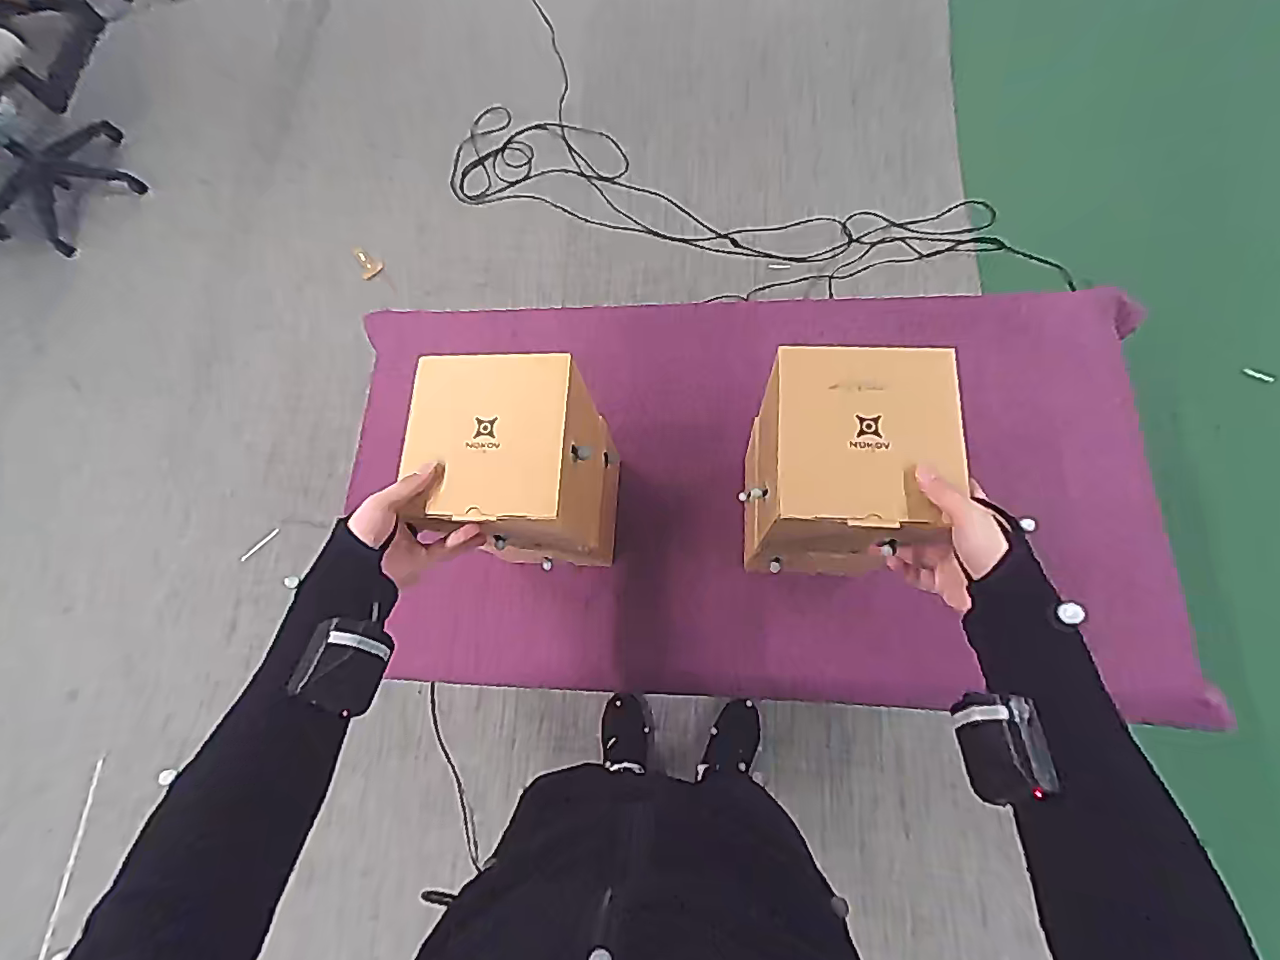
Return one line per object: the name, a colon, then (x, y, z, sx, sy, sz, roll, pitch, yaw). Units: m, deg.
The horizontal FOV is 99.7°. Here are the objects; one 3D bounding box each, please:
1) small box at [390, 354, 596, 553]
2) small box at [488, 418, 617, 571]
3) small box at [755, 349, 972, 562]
small box: (-0.145, -0.022, 0.604, 0.168, 0.176, 0.179, 1, 73, 6)
small box: (-0.128, 0.024, 0.759, 0.168, 0.176, 0.179, 2, 72, 7)
small box: (0.214, -0.015, 0.563, 0.168, 0.176, 0.179, 4, 72, 6)
